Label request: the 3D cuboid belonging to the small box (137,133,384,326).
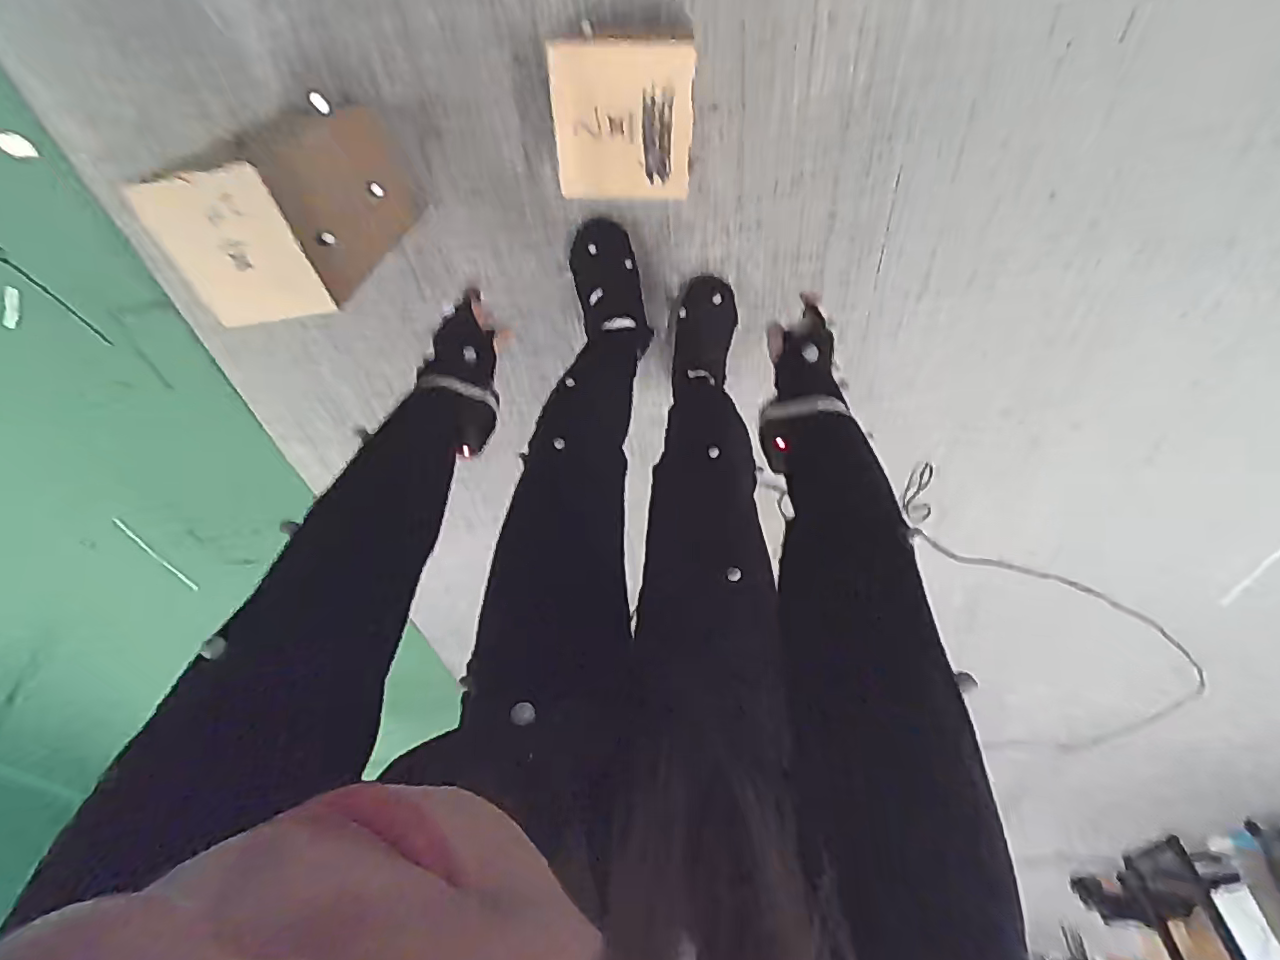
[{"bbox_3d":[-0.475,-0.330,0.716,0.168,0.176,0.179,-5,134,7],"label":"small box"}]
